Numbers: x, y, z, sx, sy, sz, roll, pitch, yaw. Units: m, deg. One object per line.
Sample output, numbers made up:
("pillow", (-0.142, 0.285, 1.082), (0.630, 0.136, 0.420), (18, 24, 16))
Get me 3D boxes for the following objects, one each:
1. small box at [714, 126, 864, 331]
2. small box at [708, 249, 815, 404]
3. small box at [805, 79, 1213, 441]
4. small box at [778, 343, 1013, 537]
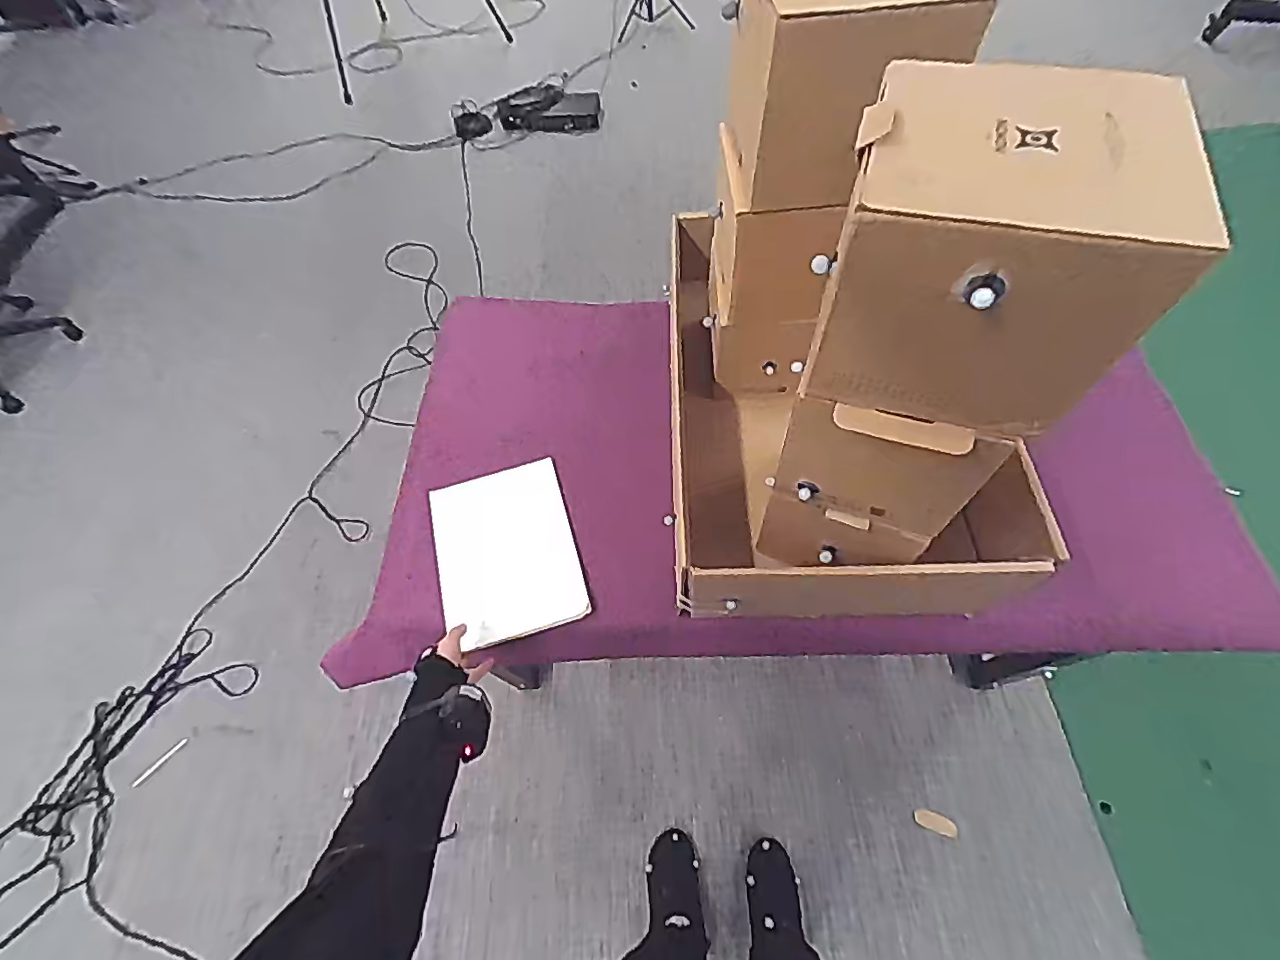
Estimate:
("small box", (0.186, -0.303, 0.674), (0.179, 0.176, 0.168), (-3, 61, 2))
("small box", (0.191, -0.227, 0.817), (0.168, 0.176, 0.179), (-1, 61, 4))
("small box", (0.228, -0.149, 0.385), (0.179, 0.176, 0.168), (15, 62, 14))
("small box", (0.239, -0.068, 0.526), (0.168, 0.176, 0.179), (16, 61, 15))
